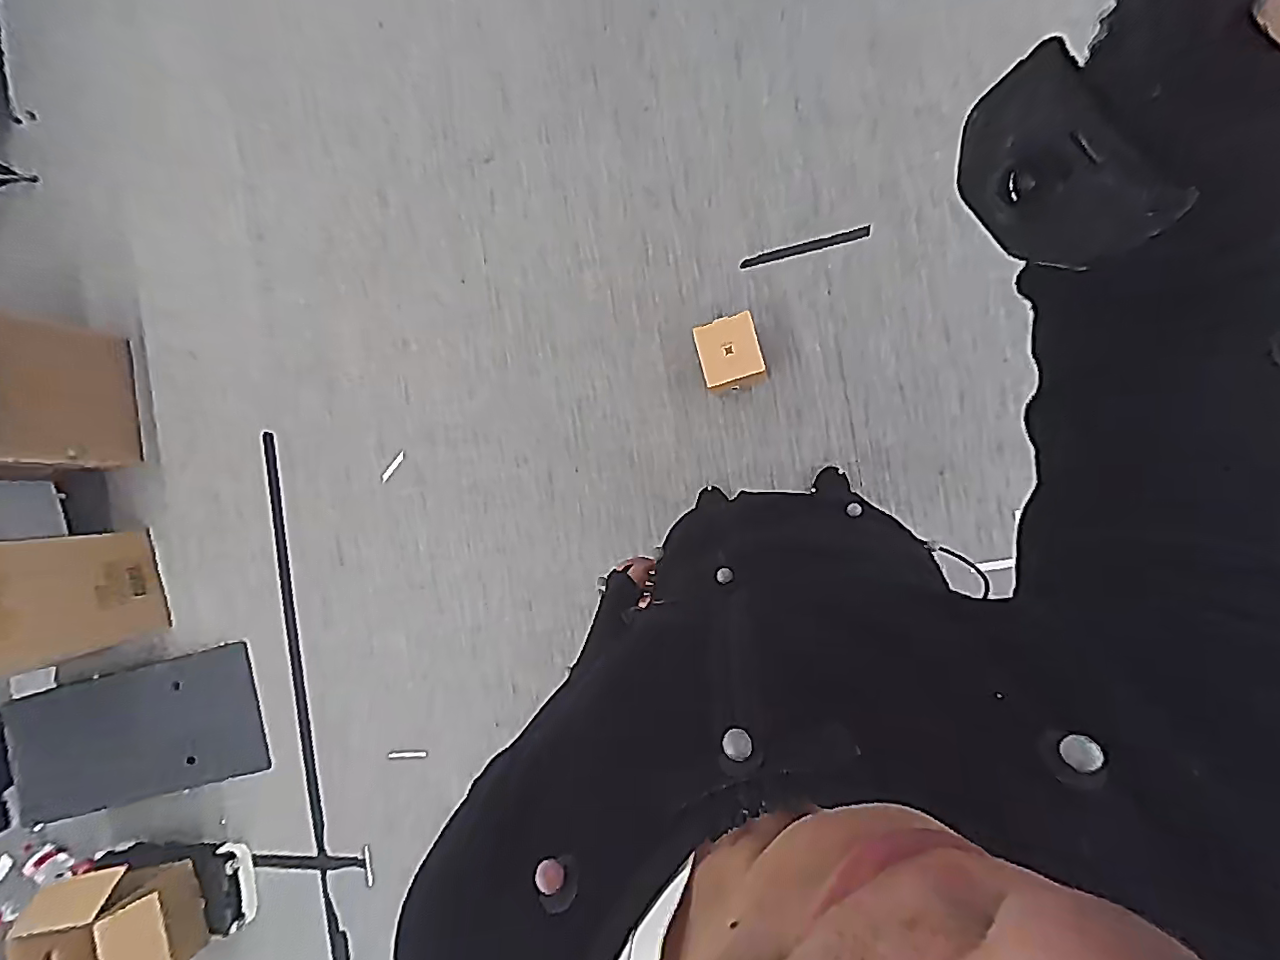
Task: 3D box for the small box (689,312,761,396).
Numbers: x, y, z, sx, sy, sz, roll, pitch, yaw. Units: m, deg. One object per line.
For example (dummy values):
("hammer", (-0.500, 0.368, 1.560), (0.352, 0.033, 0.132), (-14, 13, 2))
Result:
("small box", (0.250, -0.358, 1.570), (0.168, 0.176, 0.179), (-15, 87, 13))
